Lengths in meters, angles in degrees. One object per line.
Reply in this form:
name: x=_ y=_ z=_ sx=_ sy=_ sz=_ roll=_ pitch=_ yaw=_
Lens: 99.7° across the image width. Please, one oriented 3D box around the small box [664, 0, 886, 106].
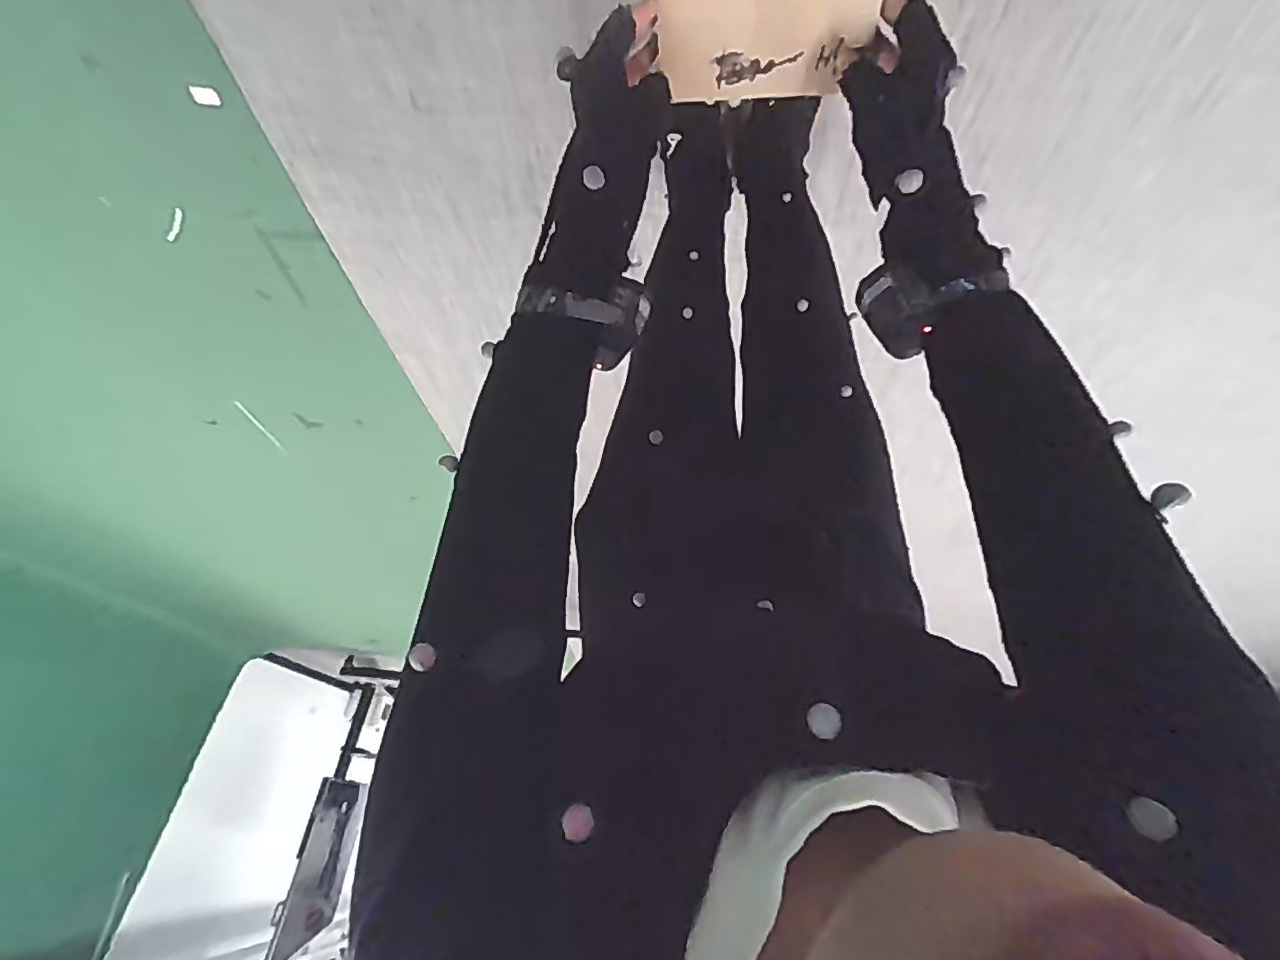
small box: x=0.101 y=-0.431 z=0.426 sx=0.168 sy=0.176 sz=0.179 roll=1 pitch=147 yaw=5
